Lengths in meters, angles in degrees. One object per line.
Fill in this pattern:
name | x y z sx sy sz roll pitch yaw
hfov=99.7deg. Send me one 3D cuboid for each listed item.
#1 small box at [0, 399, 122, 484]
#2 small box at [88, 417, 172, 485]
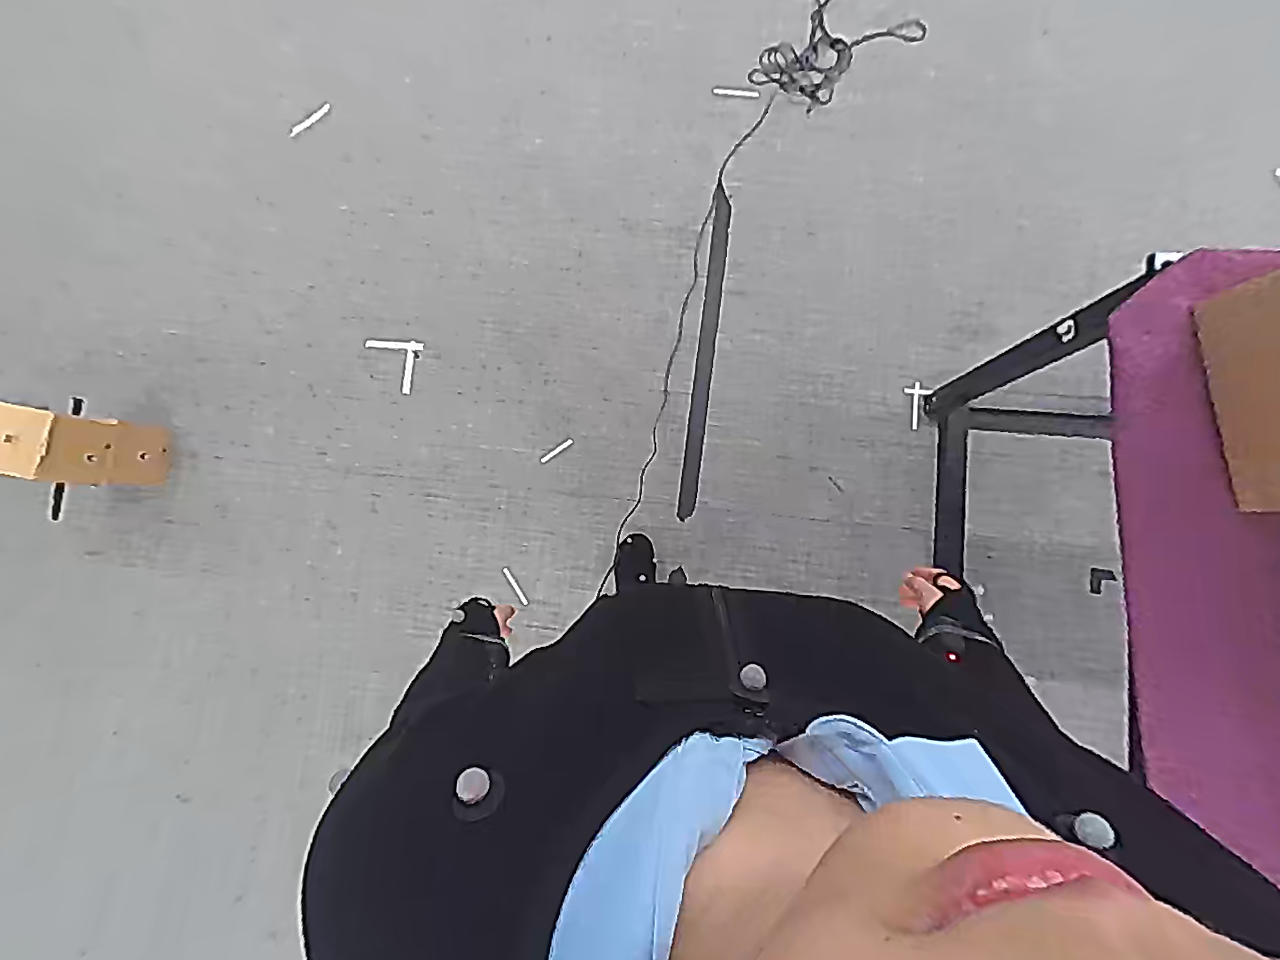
small box | -1.467 -0.090 1.342 0.179 0.176 0.168 11 84 2
small box | -1.465 -0.080 1.505 0.179 0.176 0.168 4 84 3
